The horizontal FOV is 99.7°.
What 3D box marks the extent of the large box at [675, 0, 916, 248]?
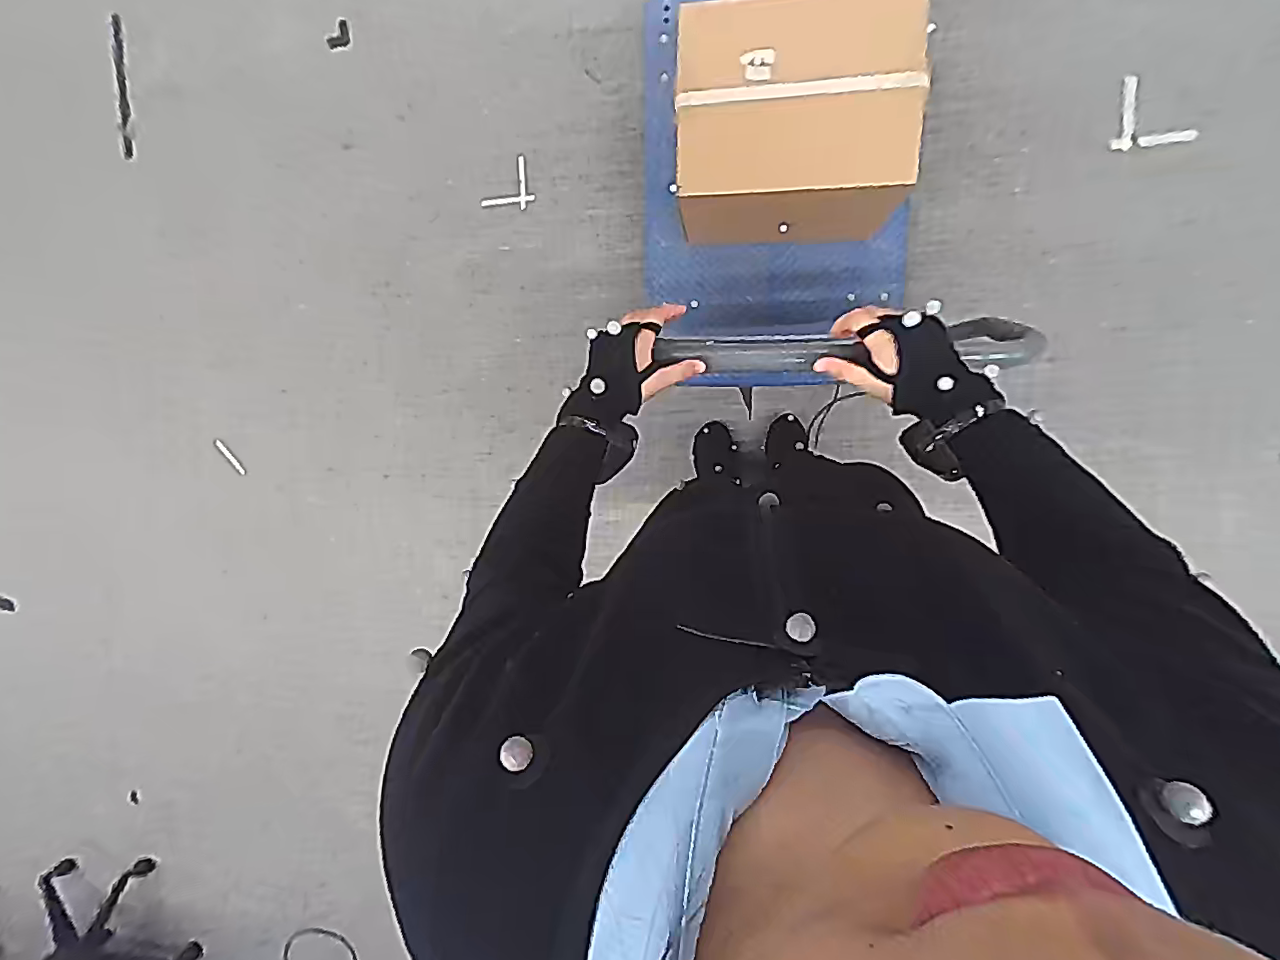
[{"bbox_3d":[0.286,-0.673,1.078,0.408,0.320,0.320,1,96,10],"label":"large box"}]
